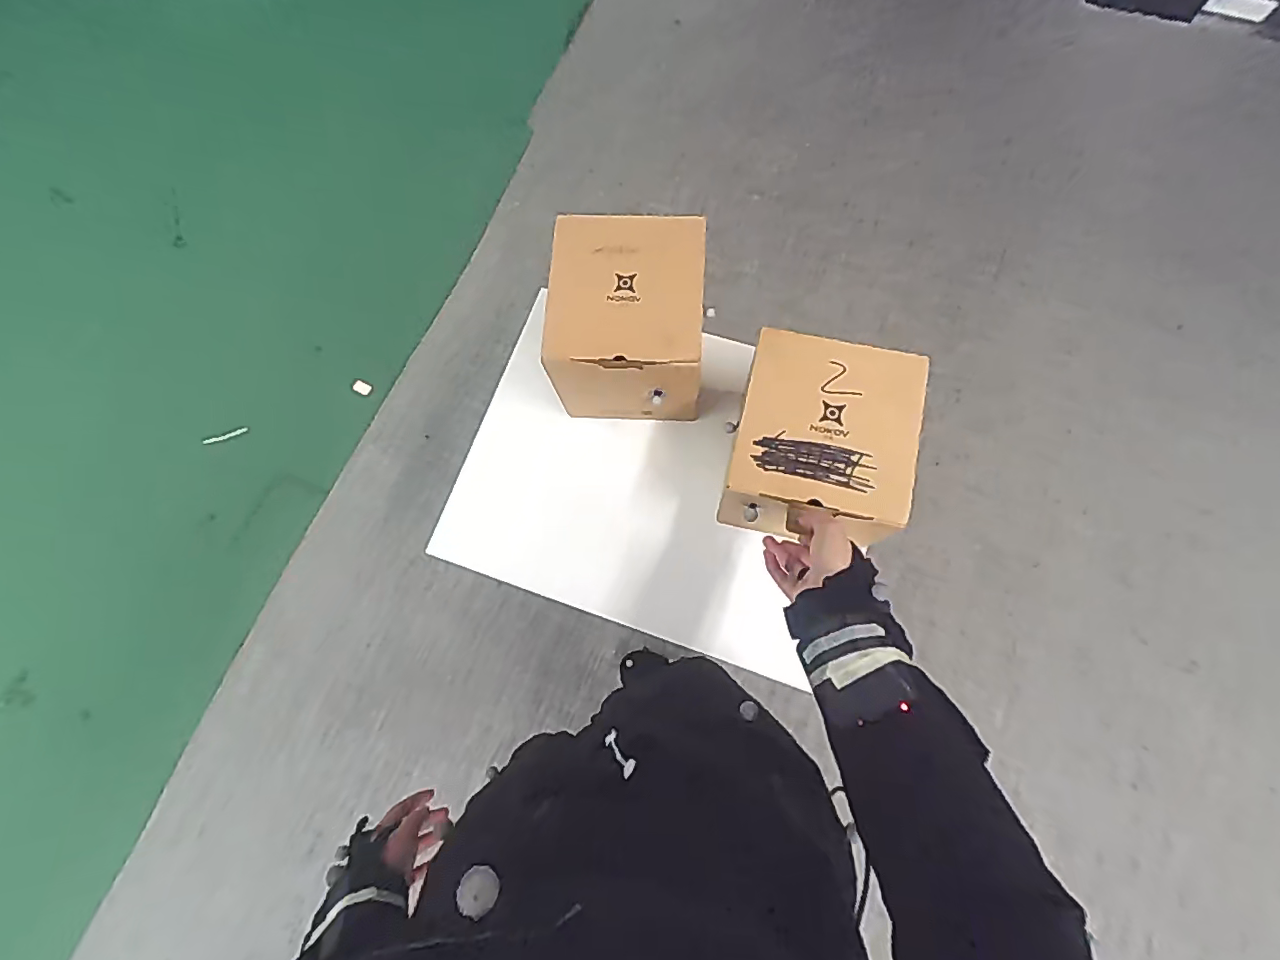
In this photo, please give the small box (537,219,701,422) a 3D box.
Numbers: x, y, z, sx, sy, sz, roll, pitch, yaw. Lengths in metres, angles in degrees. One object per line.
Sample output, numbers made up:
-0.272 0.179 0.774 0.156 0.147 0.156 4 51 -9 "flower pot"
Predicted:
-0.016 -0.177 0.639 0.168 0.176 0.179 2 75 3 "small box"
